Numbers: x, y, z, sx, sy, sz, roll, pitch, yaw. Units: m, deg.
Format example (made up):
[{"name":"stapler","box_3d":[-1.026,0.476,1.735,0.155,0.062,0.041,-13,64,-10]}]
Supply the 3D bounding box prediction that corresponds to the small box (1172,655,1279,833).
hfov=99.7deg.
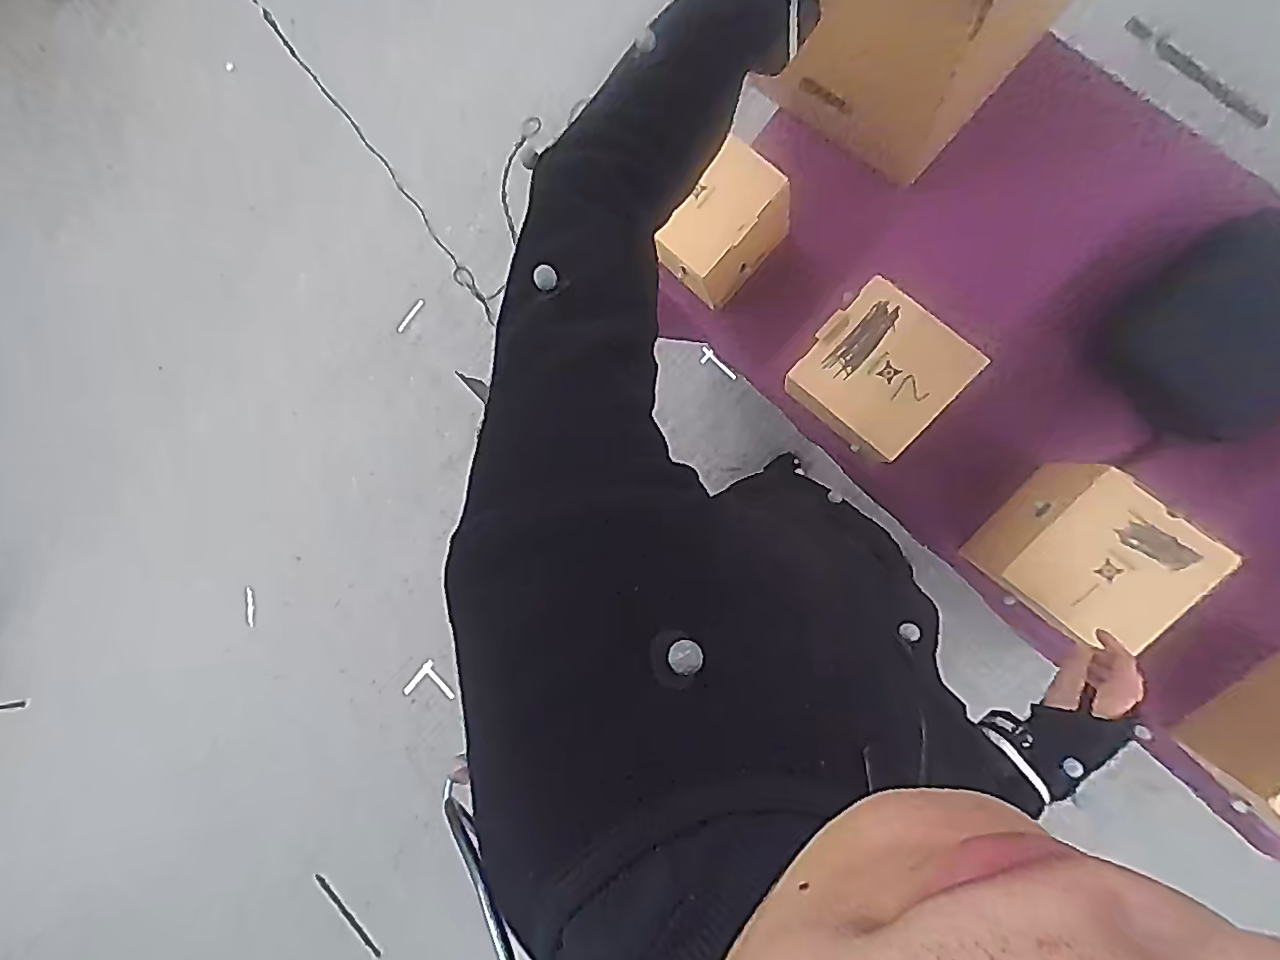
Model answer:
[{"name":"small box","box_3d":[0.823,0.343,0.648,0.168,0.176,0.179,46,102,10]}]

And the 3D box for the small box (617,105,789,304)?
[{"name":"small box","box_3d":[0.098,-0.392,0.806,0.179,0.176,0.168,44,102,8]}]

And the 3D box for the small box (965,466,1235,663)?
[{"name":"small box","box_3d":[0.569,0.094,0.705,0.168,0.176,0.179,41,102,10]}]
